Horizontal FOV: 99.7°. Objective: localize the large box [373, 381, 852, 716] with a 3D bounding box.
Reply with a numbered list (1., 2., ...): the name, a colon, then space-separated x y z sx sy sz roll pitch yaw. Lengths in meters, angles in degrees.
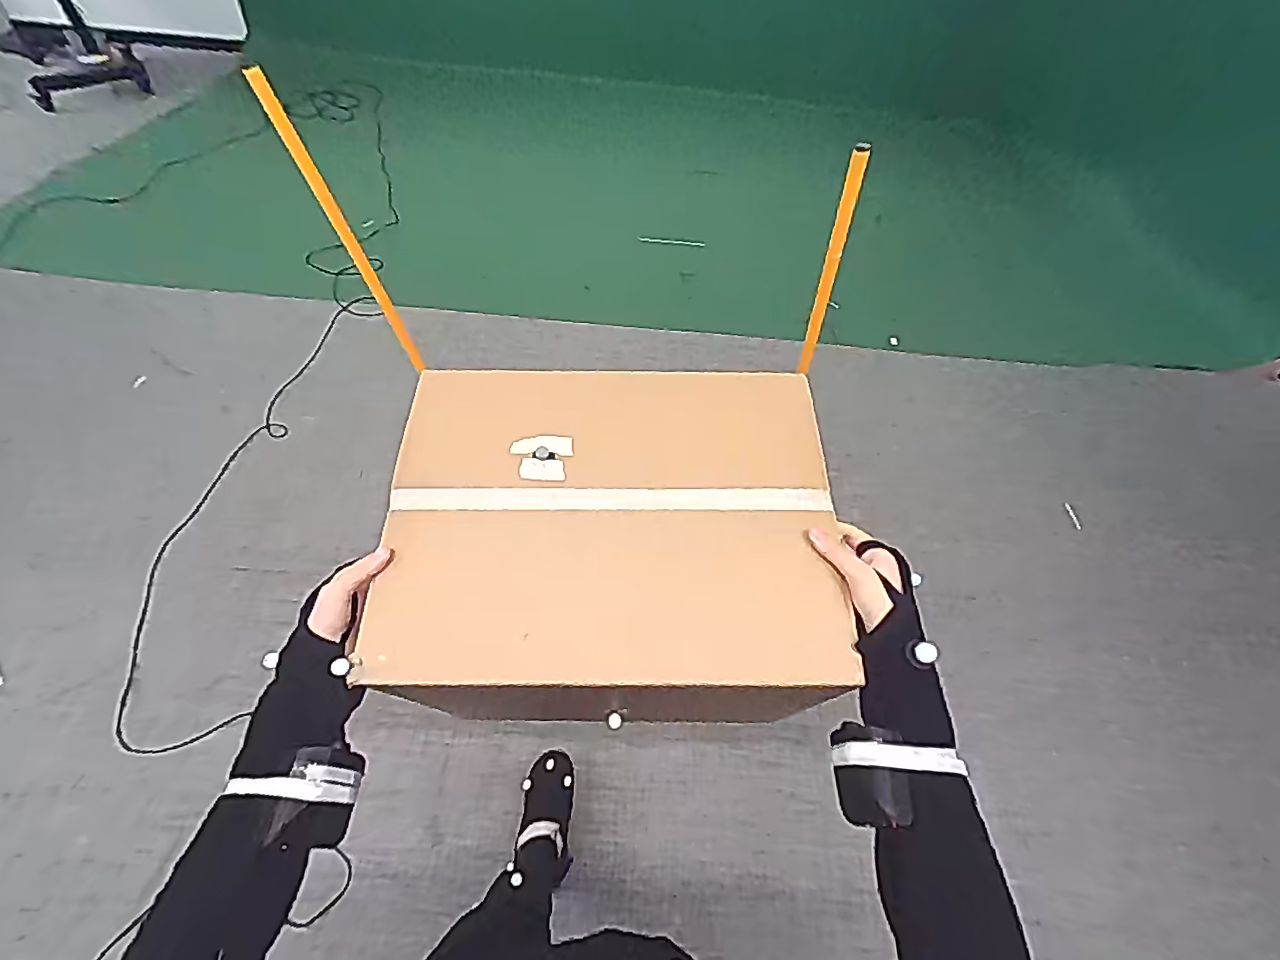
1. large box: -0.021 0.102 0.645 0.408 0.320 0.320 0 60 1
